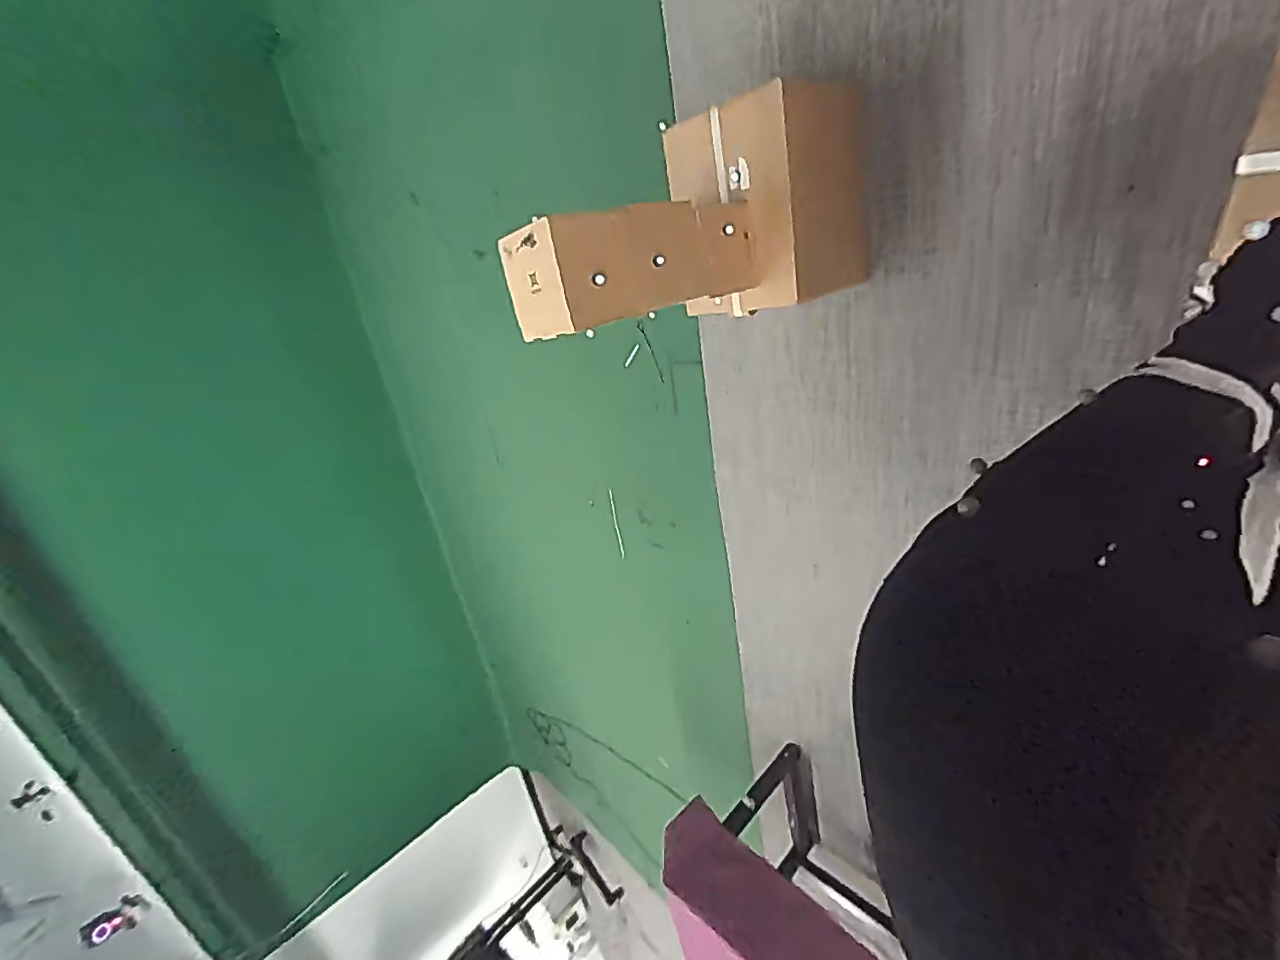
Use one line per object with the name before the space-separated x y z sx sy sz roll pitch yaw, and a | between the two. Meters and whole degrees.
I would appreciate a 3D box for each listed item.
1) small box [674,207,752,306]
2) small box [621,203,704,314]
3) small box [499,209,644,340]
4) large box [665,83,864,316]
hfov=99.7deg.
small box | 0.122 -0.468 1.141 0.179 0.176 0.168 12 120 47
small box | 0.004 -0.415 1.041 0.168 0.176 0.179 6 115 48
small box | -0.113 -0.355 0.942 0.168 0.176 0.179 9 118 47
large box | 0.297 -0.618 1.249 0.320 0.320 0.408 13 120 46
